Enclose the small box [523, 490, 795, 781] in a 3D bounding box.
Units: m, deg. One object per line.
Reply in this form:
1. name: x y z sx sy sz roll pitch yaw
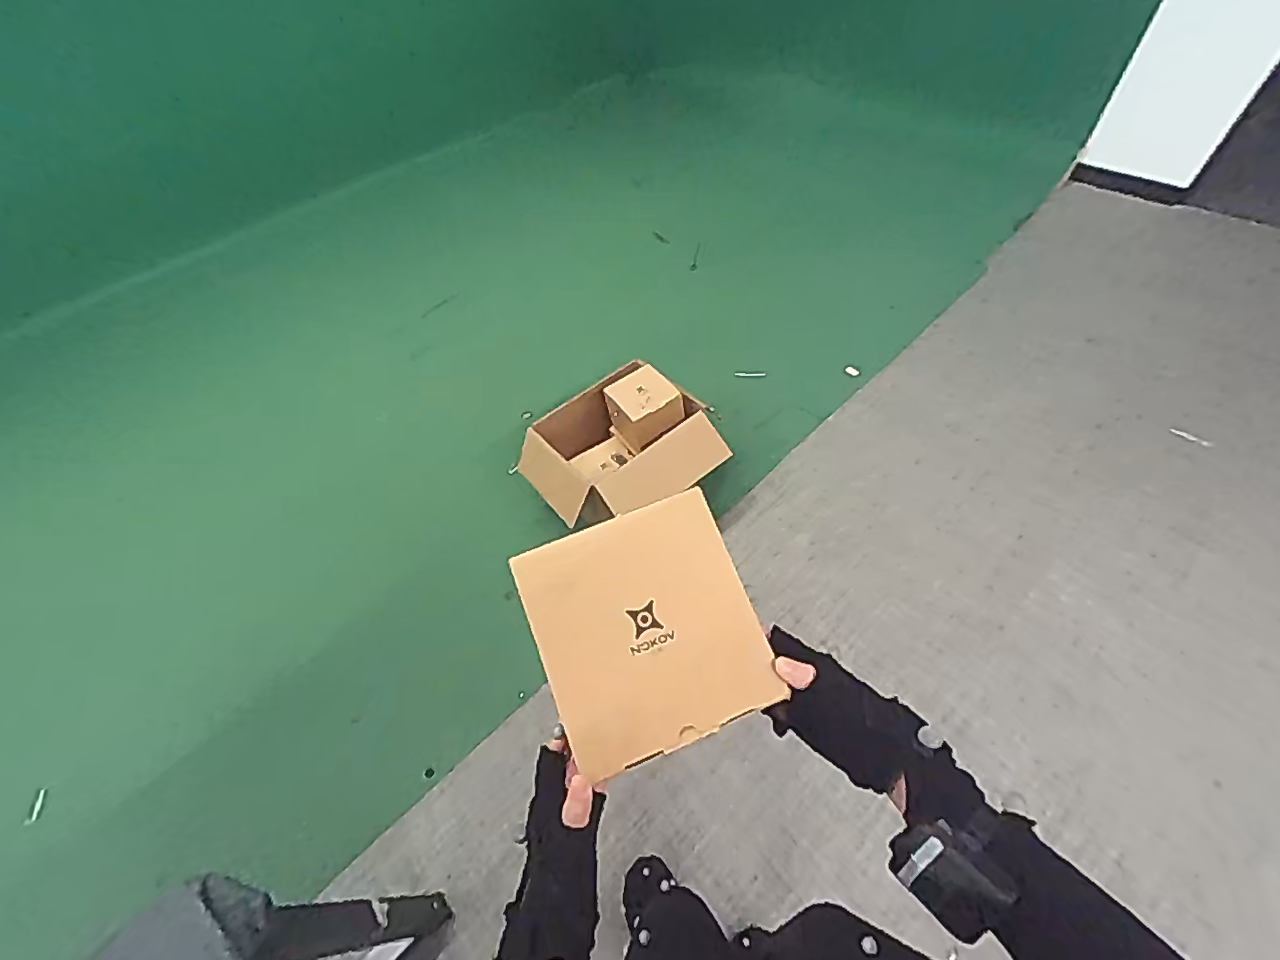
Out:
1. small box: 0.006 0.133 0.488 0.168 0.176 0.179 -20 76 -9
